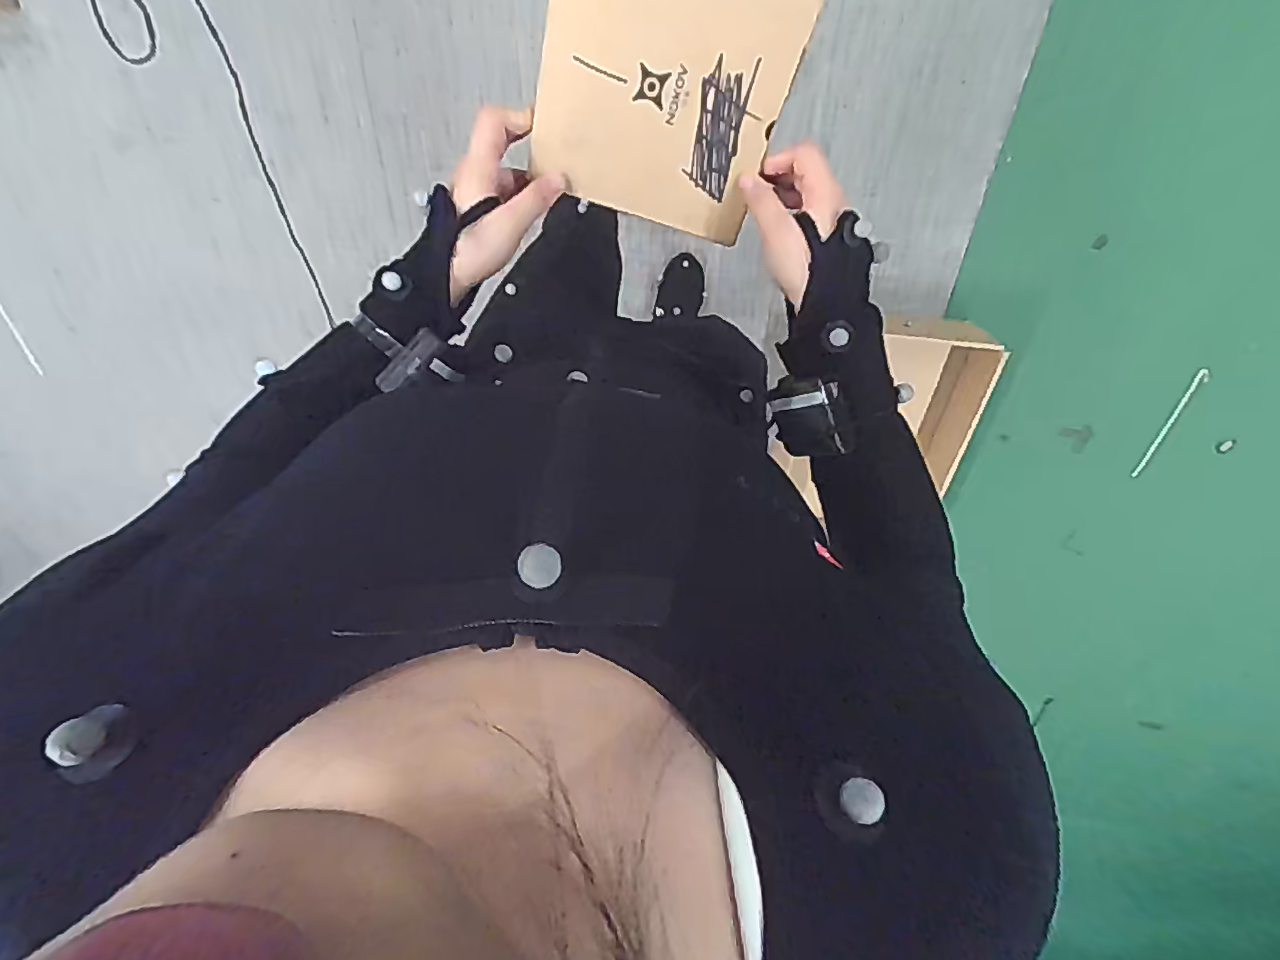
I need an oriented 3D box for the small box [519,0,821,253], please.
[{"bbox_3d":[0.017,-0.313,0.441,0.179,0.176,0.168,15,127,-6],"label":"small box"}]
